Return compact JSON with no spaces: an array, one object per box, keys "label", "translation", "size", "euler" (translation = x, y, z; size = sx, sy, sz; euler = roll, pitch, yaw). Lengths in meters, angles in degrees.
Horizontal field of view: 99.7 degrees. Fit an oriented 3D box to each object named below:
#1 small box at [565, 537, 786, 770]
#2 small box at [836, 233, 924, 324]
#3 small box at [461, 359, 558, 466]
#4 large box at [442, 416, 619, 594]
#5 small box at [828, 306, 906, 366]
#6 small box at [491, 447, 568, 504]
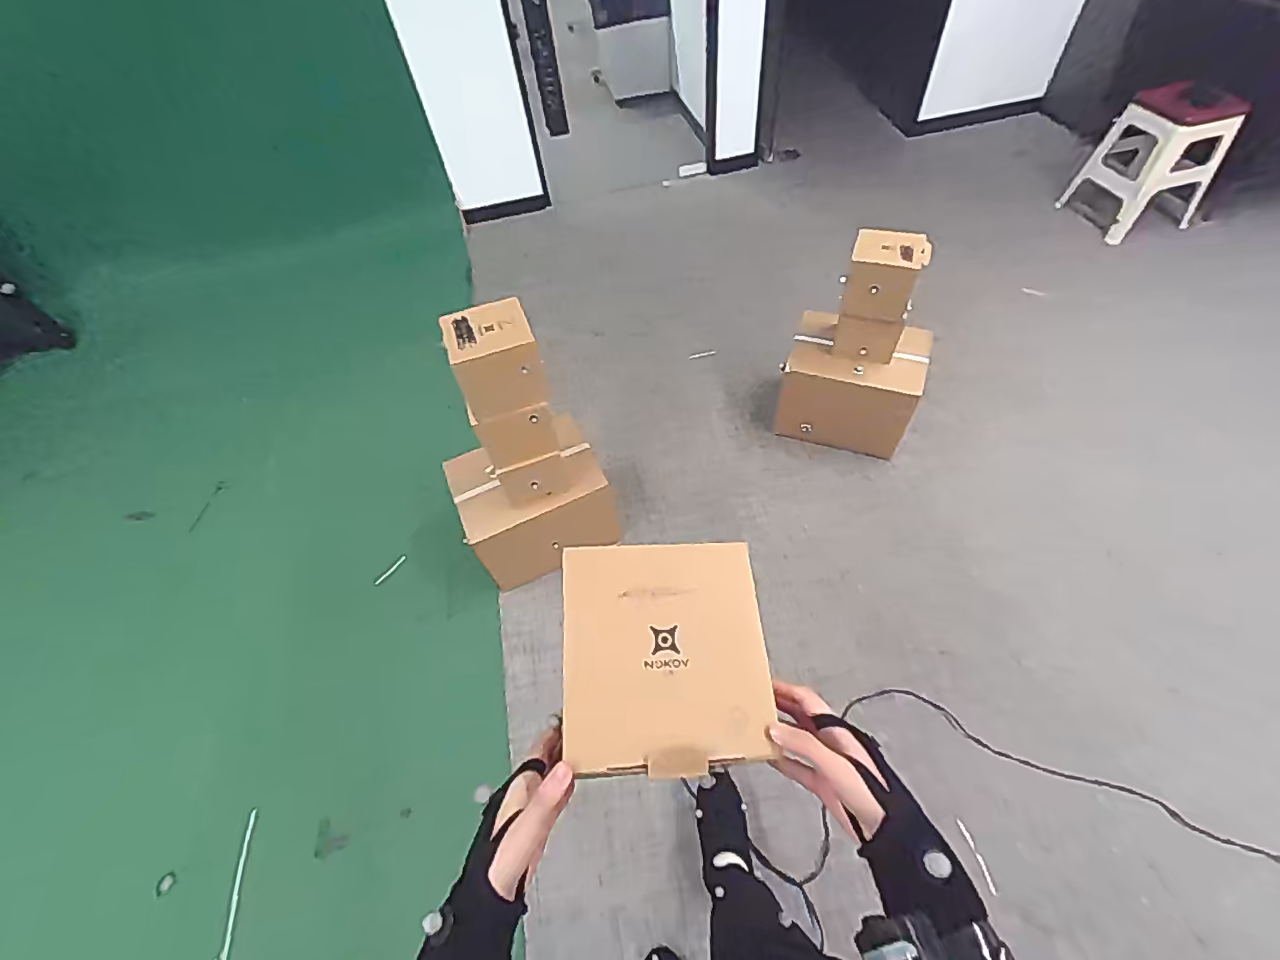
[{"label":"small box","translation":[0.016,0.166,0.500],"size":[0.168,0.176,0.179],"euler":[0,60,-7]},{"label":"small box","translation":[0.665,-0.558,1.507],"size":[0.179,0.176,0.168],"euler":[15,56,17]},{"label":"small box","translation":[-0.311,-0.157,1.304],"size":[0.179,0.176,0.168],"euler":[-17,54,-9]},{"label":"large box","translation":[-0.319,0.078,1.639],"size":[0.408,0.320,0.320],"euler":[-24,54,-11]},{"label":"small box","translation":[0.690,-0.470,1.646],"size":[0.179,0.176,0.168],"euler":[13,55,13]},{"label":"small box","translation":[-0.301,-0.055,1.430],"size":[0.168,0.176,0.179],"euler":[-19,55,-9]}]
